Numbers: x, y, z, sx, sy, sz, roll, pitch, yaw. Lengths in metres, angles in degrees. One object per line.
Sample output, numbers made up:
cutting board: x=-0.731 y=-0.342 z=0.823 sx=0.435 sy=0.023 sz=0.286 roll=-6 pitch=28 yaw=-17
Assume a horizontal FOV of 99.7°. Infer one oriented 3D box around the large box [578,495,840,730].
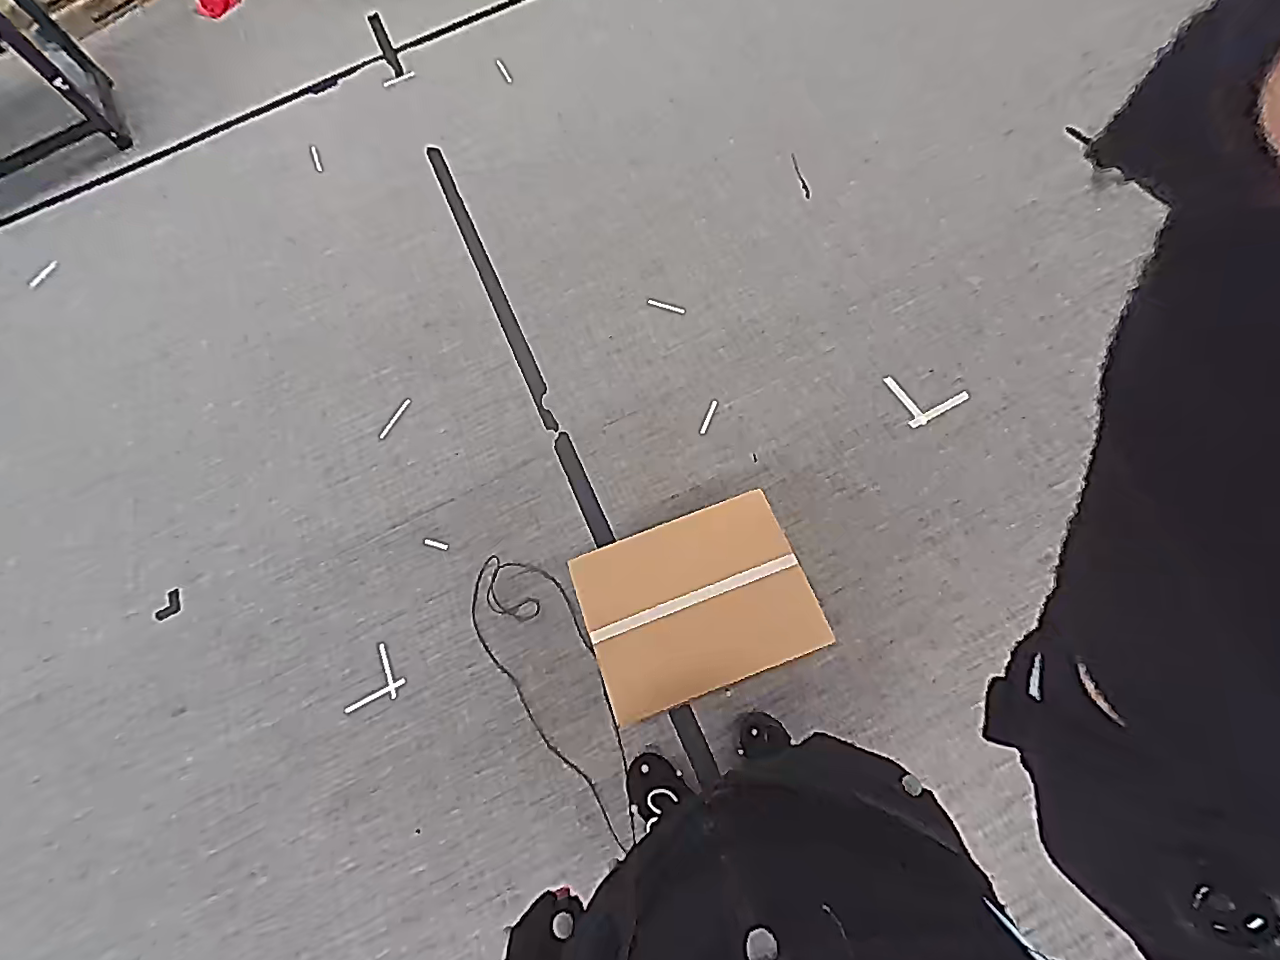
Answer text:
large box: x=0.130 y=0.287 z=1.121 sx=0.408 sy=0.320 sz=0.320 roll=-21 pitch=67 yaw=-2
